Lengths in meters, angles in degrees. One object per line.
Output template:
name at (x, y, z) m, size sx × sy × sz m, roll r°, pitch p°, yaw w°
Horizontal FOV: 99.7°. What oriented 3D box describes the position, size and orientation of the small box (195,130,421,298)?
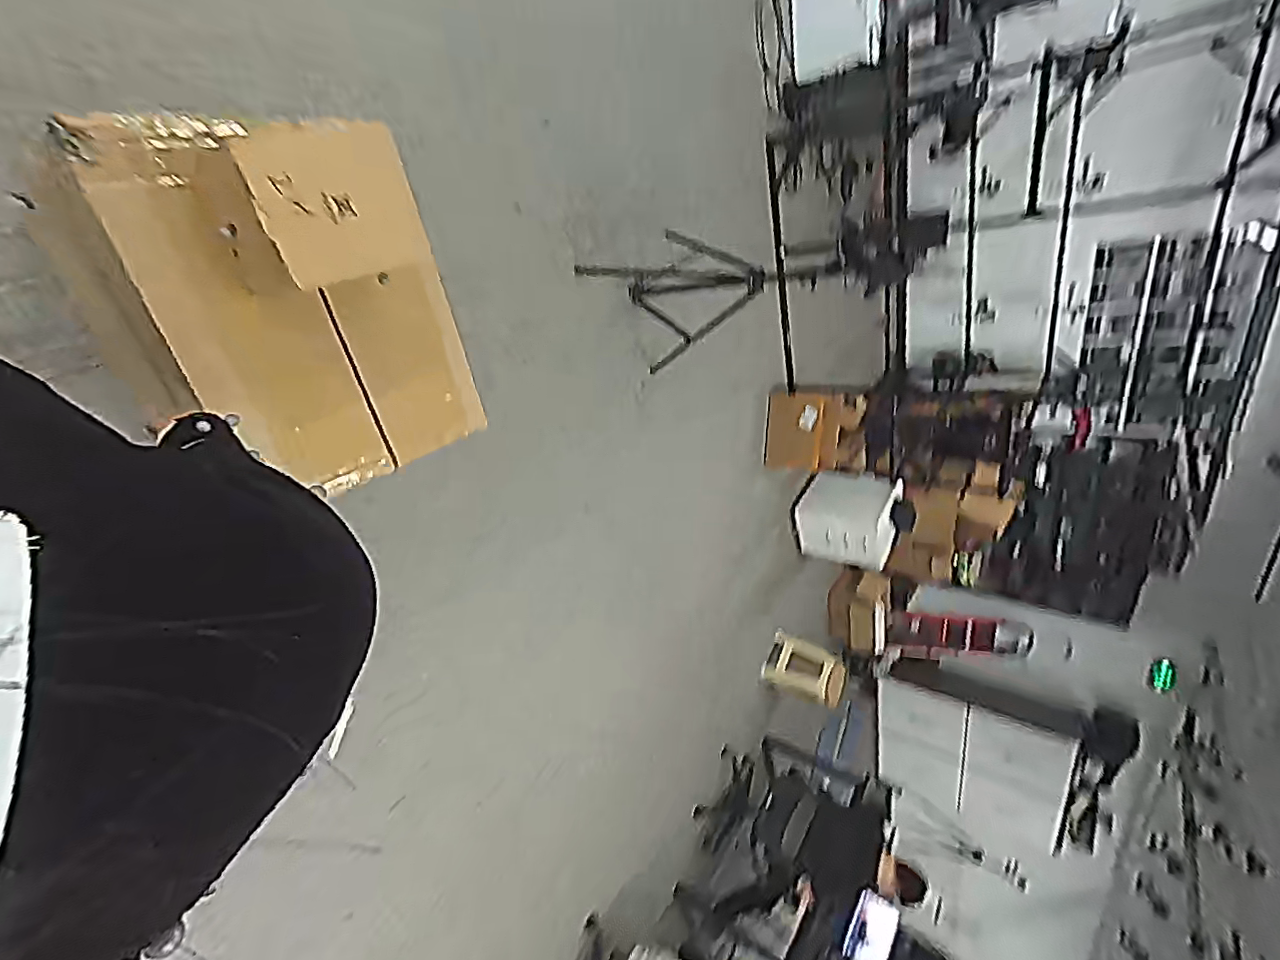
small box at (-0.434, -0.347, 0.715) m, size 0.179 × 0.176 × 0.168 m, roll -36°, pitch 124°, yaw -39°
